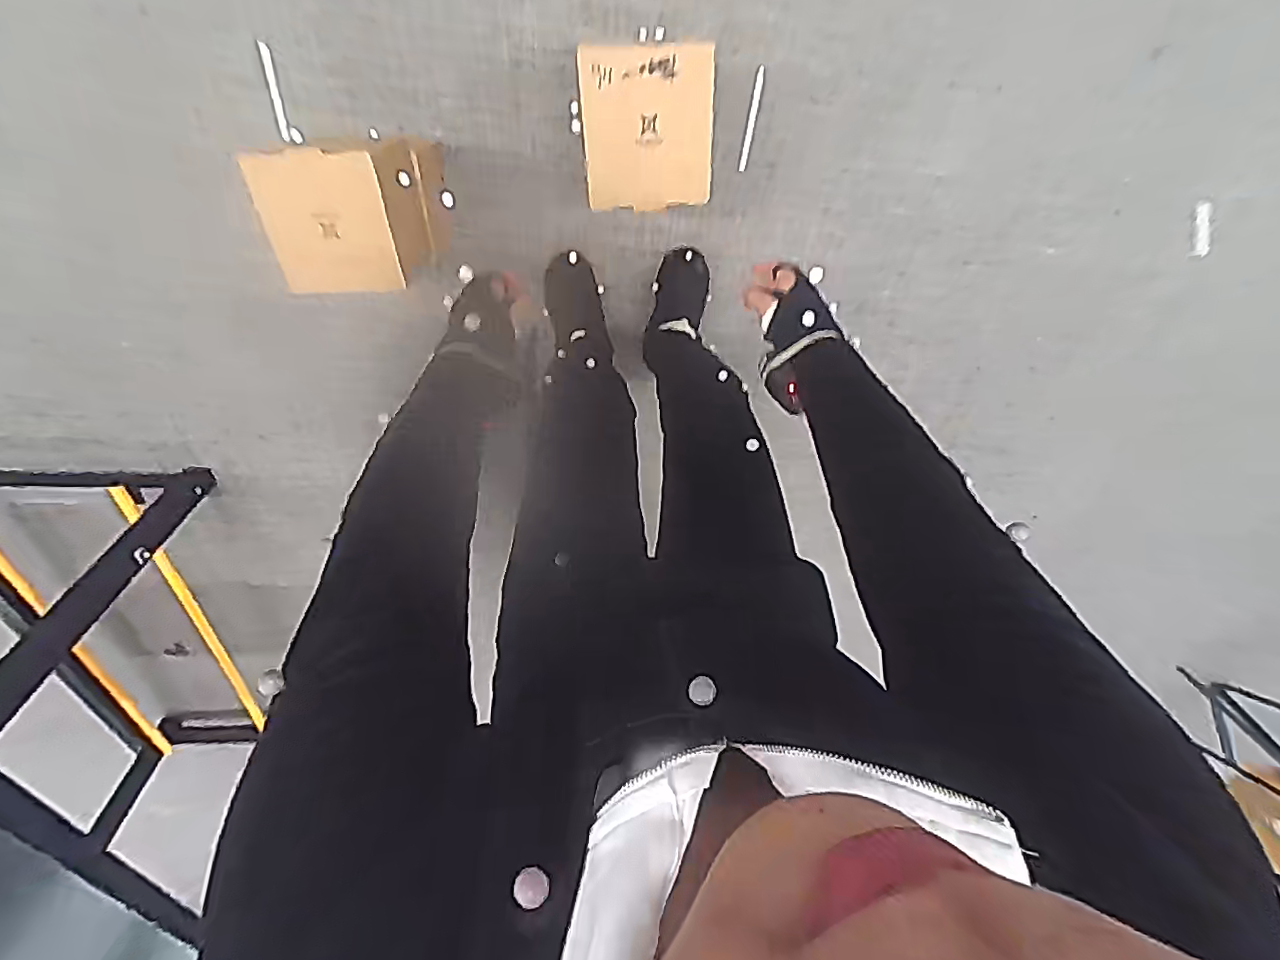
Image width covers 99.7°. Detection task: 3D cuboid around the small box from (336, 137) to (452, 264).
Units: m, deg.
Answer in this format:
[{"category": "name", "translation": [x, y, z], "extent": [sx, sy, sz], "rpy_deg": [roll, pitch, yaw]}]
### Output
[{"category": "small box", "translation": [-0.436, -0.479, 0.923], "extent": [0.179, 0.176, 0.168], "rpy_deg": [-1, 128, -6]}]

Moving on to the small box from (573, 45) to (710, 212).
[{"category": "small box", "translation": [-0.002, -0.491, 0.753], "extent": [0.168, 0.176, 0.179], "rpy_deg": [-4, 129, -3]}]

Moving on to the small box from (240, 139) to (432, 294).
[{"category": "small box", "translation": [-0.422, -0.388, 0.788], "extent": [0.168, 0.176, 0.179], "rpy_deg": [-3, 129, -2]}]
